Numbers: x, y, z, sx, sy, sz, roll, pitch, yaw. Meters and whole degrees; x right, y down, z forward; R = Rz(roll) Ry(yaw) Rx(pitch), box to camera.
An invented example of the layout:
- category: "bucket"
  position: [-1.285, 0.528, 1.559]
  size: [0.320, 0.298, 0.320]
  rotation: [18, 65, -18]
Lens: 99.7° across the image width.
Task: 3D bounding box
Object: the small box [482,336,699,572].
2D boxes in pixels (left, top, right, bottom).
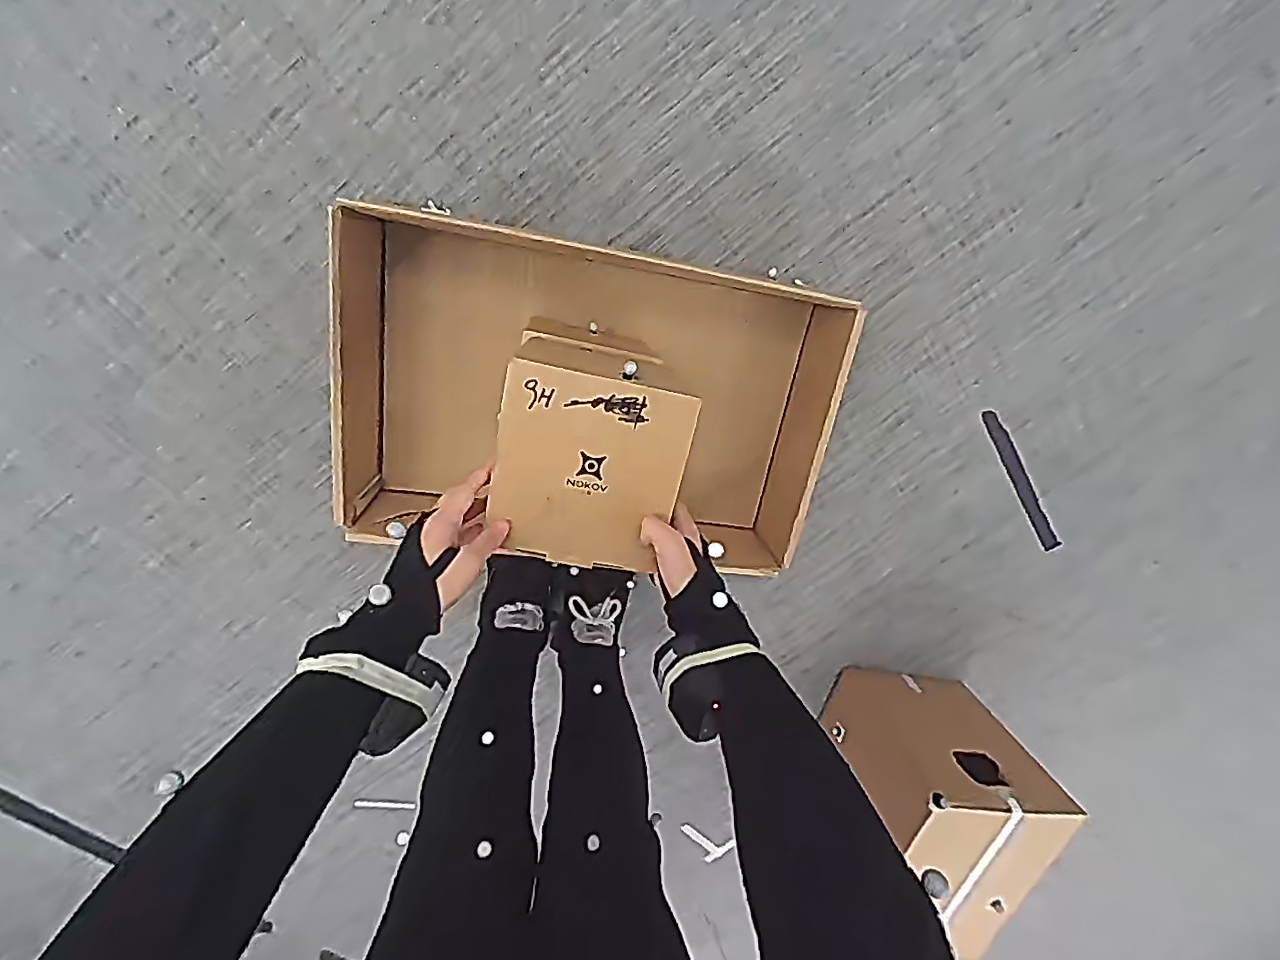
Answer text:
- category: "small box"
  position: [-0.052, -0.035, 0.550]
  size: [0.168, 0.176, 0.179]
  rotation: [11, 110, -9]
